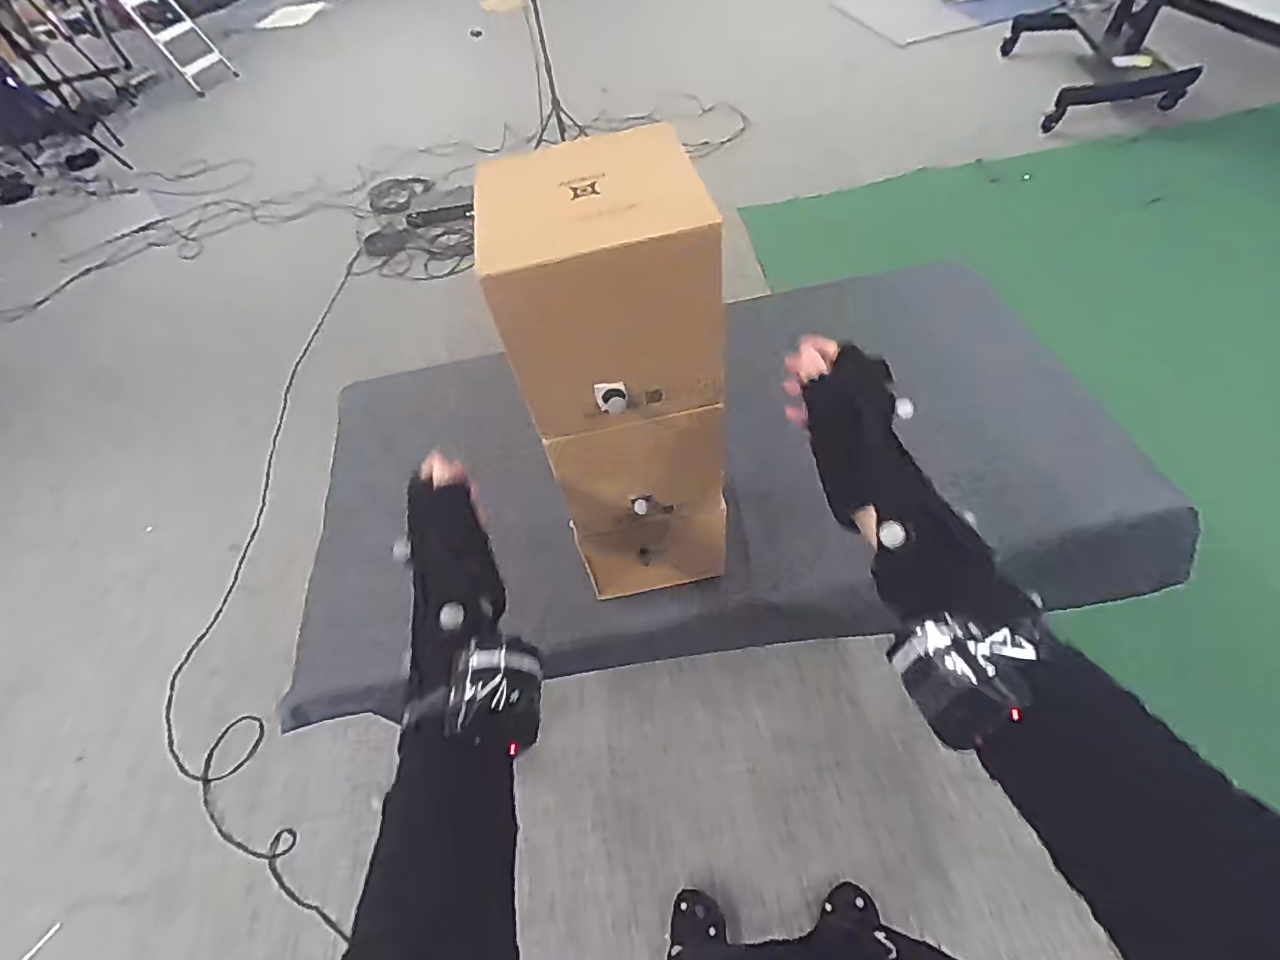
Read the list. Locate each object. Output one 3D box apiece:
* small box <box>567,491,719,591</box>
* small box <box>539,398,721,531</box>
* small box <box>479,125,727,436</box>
[{"bbox_3d":[0.004,0.032,0.721,0.179,0.176,0.168,-11,53,-1],"label":"small box"},{"bbox_3d":[-0.013,-0.069,0.593,0.168,0.176,0.179,-10,54,-1],"label":"small box"},{"bbox_3d":[-0.029,-0.166,0.464,0.168,0.176,0.179,-13,54,-1],"label":"small box"}]
